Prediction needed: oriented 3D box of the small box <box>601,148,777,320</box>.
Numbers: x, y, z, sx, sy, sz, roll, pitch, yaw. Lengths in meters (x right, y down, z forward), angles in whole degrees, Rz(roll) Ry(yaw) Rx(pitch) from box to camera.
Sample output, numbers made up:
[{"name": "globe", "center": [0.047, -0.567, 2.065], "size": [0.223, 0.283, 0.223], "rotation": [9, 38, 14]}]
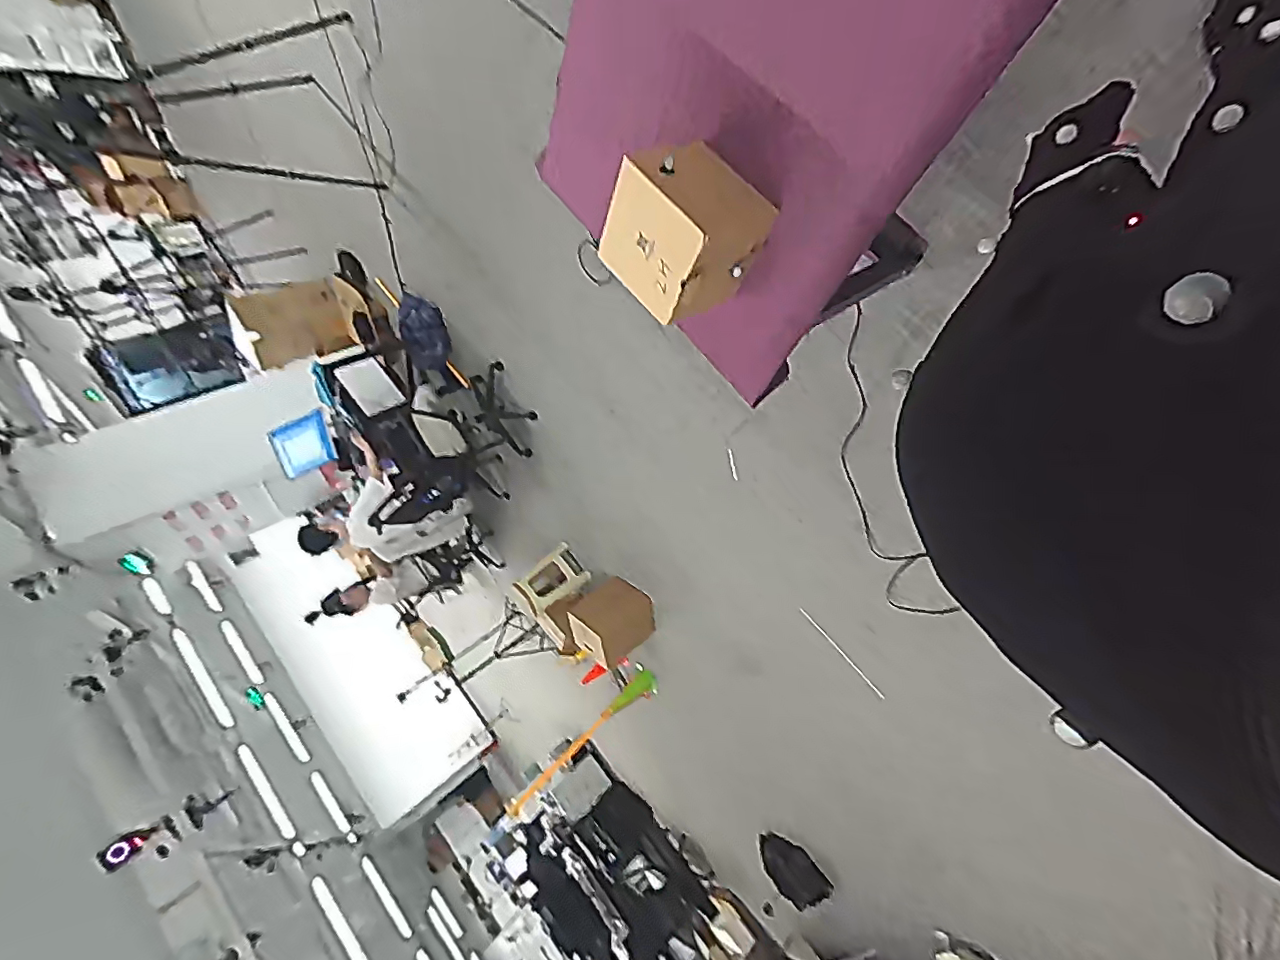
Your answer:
[{"name": "small box", "center": [0.072, -0.384, 0.835], "size": [0.179, 0.176, 0.168], "rotation": [49, 147, 13]}]
